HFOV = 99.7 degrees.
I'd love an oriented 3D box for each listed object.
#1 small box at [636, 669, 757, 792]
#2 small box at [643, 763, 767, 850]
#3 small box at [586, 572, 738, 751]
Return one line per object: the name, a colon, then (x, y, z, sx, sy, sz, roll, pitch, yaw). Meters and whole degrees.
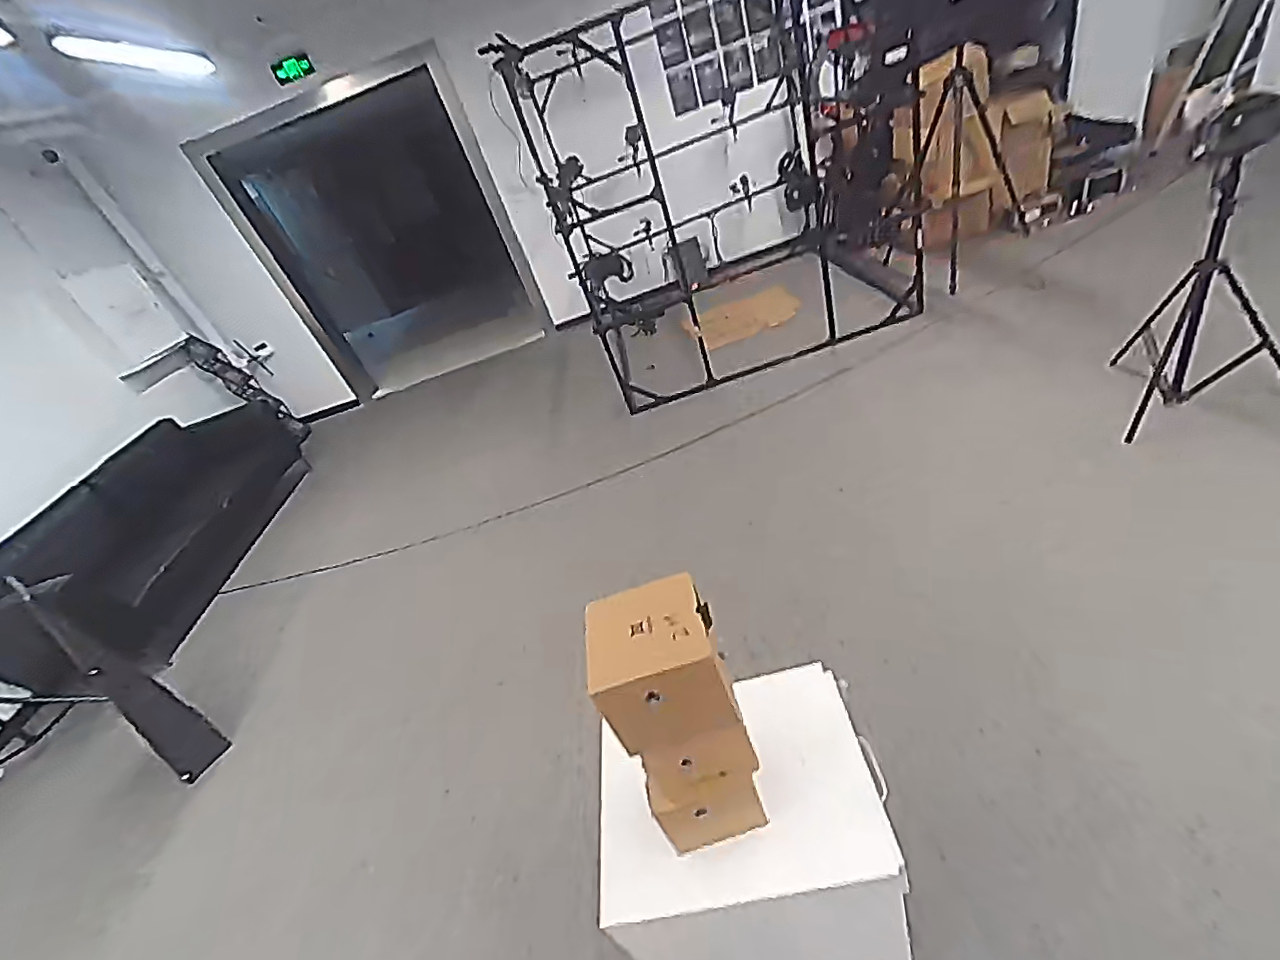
small box: (0.084, 0.395, 0.914, 0.168, 0.176, 0.179, -20, 32, 3)
small box: (0.113, 0.538, 0.990, 0.179, 0.176, 0.168, -20, 33, 2)
small box: (0.031, 0.275, 0.813, 0.179, 0.176, 0.168, -19, 33, 5)
